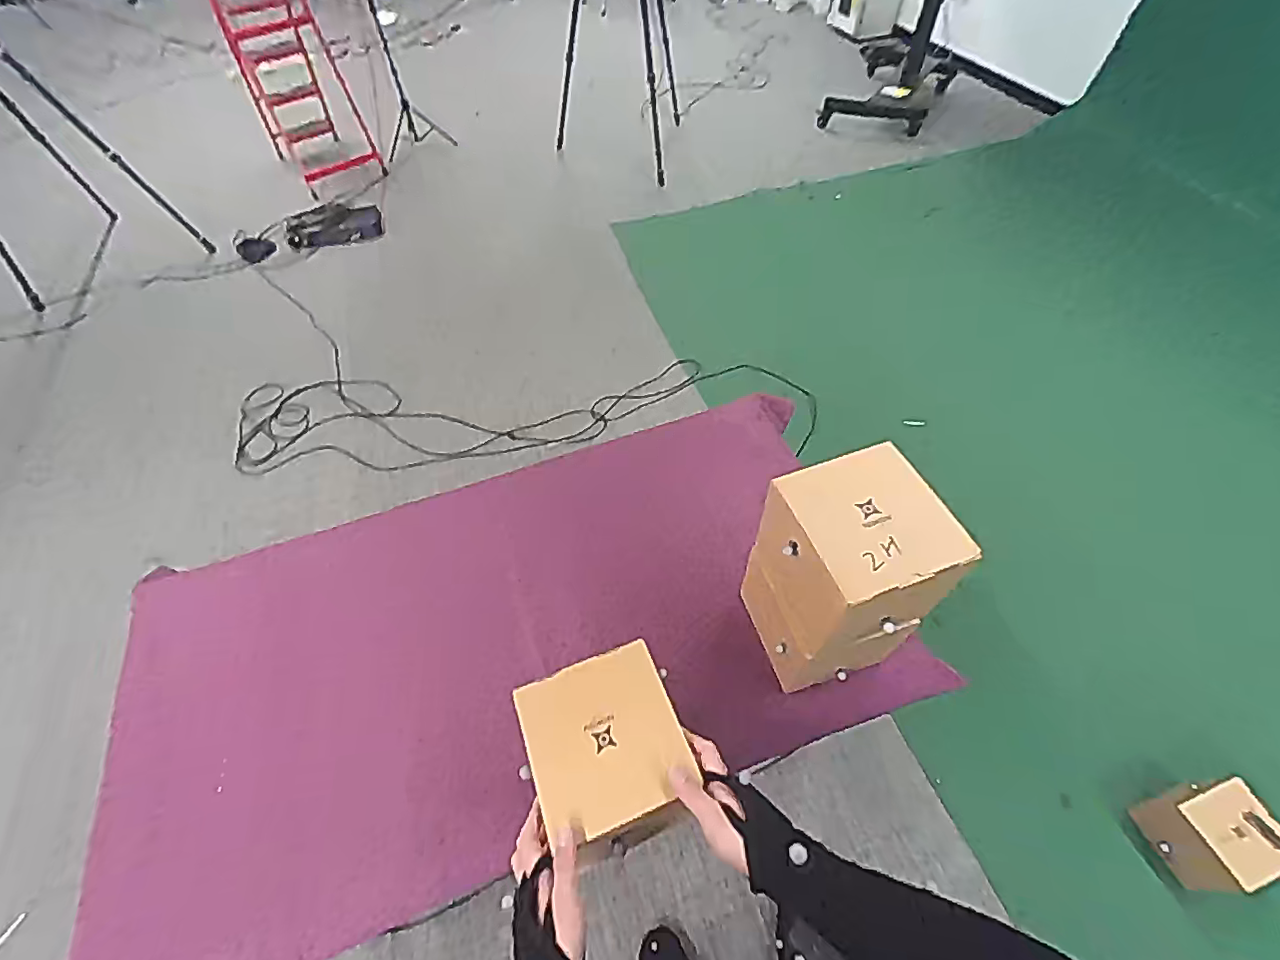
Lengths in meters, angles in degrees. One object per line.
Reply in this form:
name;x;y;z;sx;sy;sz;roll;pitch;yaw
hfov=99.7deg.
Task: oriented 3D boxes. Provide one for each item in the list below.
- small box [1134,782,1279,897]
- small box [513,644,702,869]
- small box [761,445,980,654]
small box;1.294;0.806;1.219;0.179;0.176;0.168;-18;55;-9
small box;-0.035;0.333;0.643;0.168;0.176;0.179;-19;50;-12
small box;0.266;0.089;0.679;0.168;0.176;0.179;-17;55;-8
